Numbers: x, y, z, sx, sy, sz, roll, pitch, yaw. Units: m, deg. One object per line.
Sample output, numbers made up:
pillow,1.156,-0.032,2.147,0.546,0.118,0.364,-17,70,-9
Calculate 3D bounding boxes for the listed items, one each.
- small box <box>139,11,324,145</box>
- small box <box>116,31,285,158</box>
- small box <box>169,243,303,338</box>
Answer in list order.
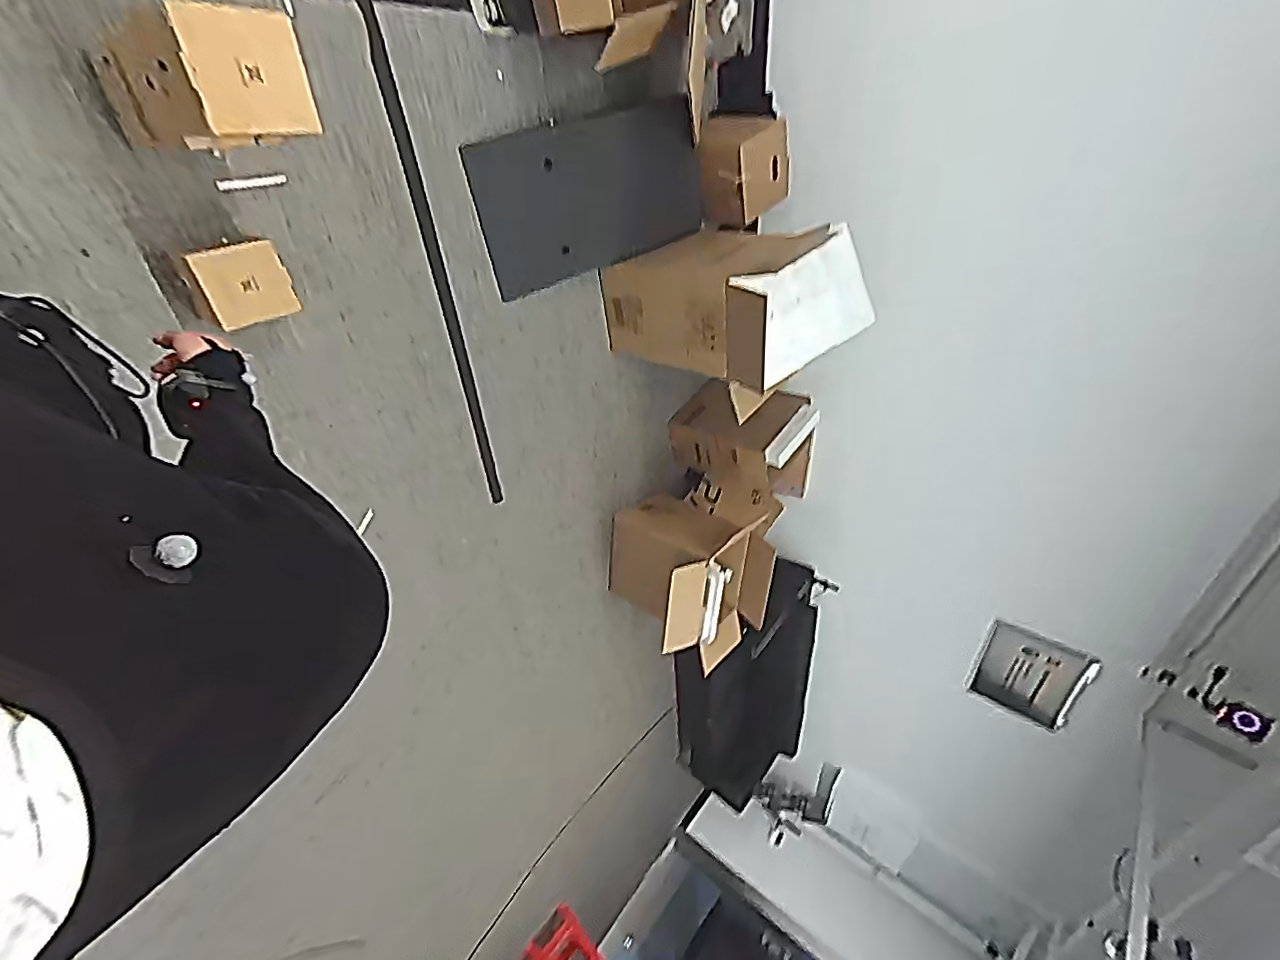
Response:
small box,-0.682,-0.665,0.911,0.179,0.176,0.168,-34,135,-39
small box,-0.811,-0.705,1.001,0.168,0.176,0.179,-37,137,-38
small box,-0.944,-0.450,1.266,0.179,0.176,0.168,-37,135,-37
